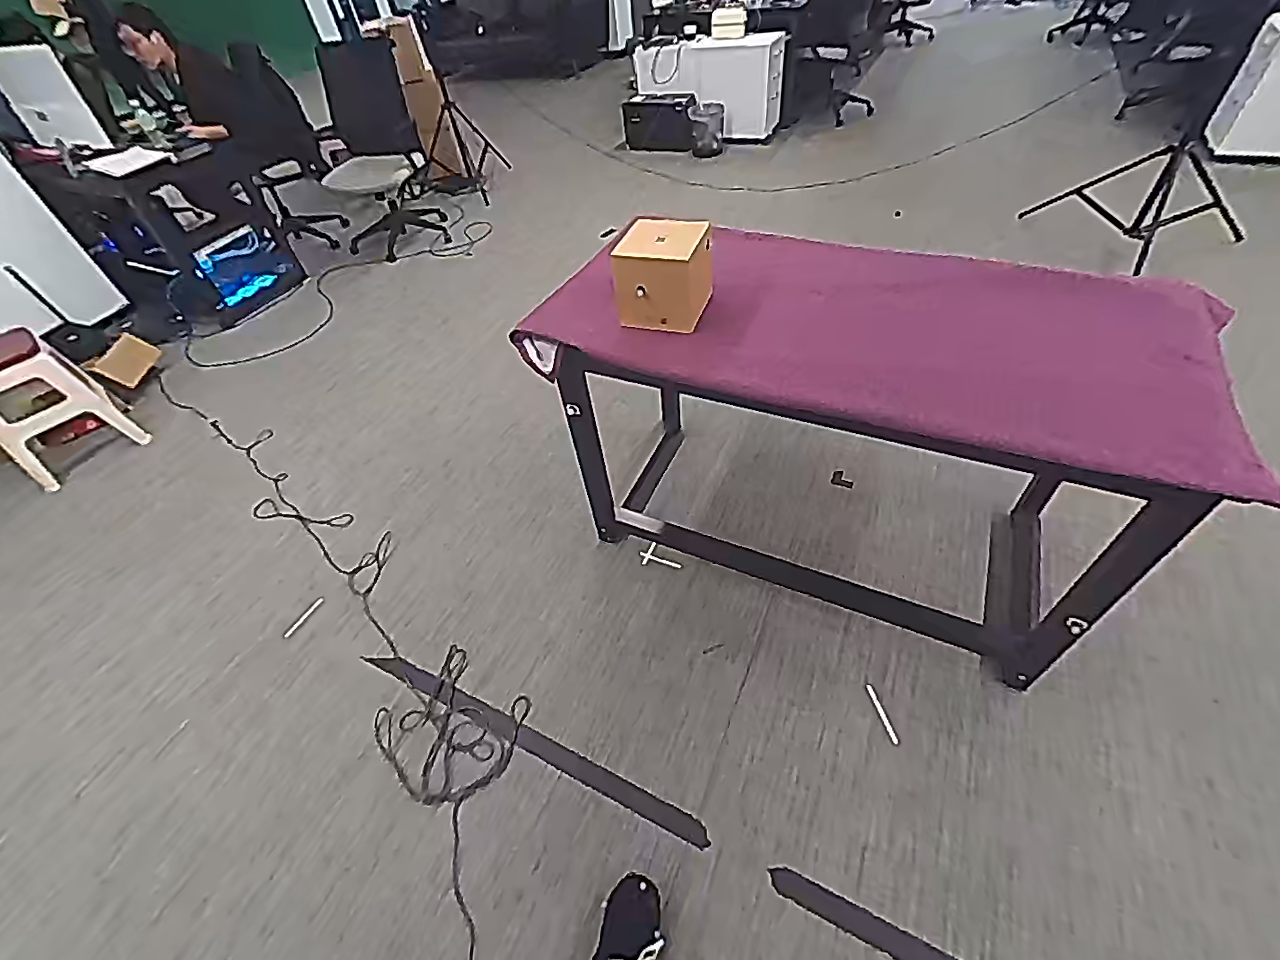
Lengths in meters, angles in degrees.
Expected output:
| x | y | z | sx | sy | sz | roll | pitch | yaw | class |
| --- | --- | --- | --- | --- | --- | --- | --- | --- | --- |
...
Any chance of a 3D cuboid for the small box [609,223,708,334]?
| x | y | z | sx | sy | sz | roll | pitch | yaw | class |
| --- | --- | --- | --- | --- | --- | --- | --- | --- | --- |
| 0.049 | -0.435 | 1.170 | 0.168 | 0.176 | 0.179 | 11 | 49 | 17 | small box |
